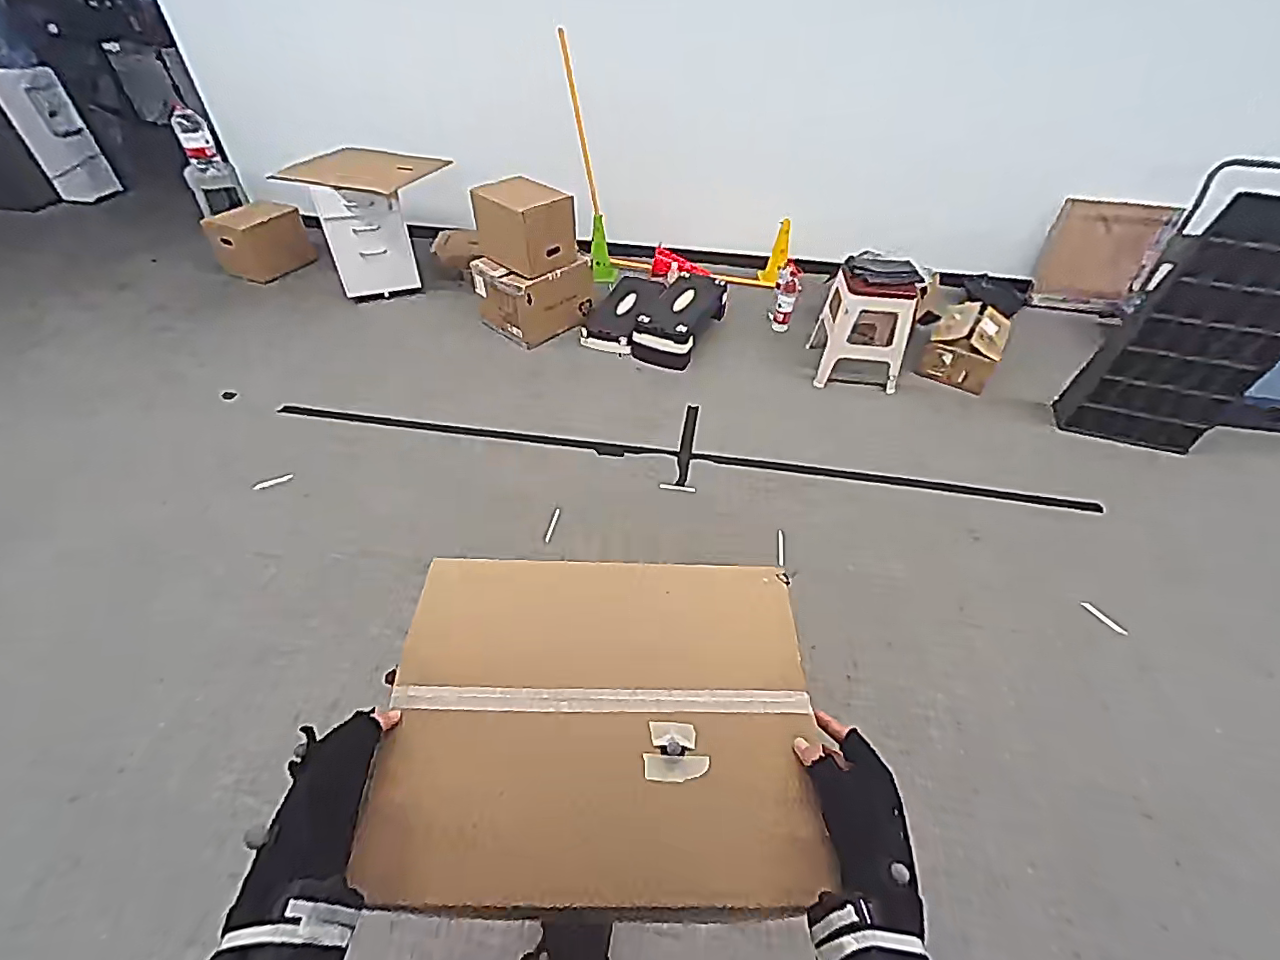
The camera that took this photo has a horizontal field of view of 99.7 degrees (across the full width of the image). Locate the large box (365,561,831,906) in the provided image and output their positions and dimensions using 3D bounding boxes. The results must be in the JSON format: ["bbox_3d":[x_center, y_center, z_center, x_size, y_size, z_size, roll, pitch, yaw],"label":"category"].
[{"bbox_3d":[-0.042,0.315,0.662,0.408,0.320,0.320,2,50,-2],"label":"large box"}]
